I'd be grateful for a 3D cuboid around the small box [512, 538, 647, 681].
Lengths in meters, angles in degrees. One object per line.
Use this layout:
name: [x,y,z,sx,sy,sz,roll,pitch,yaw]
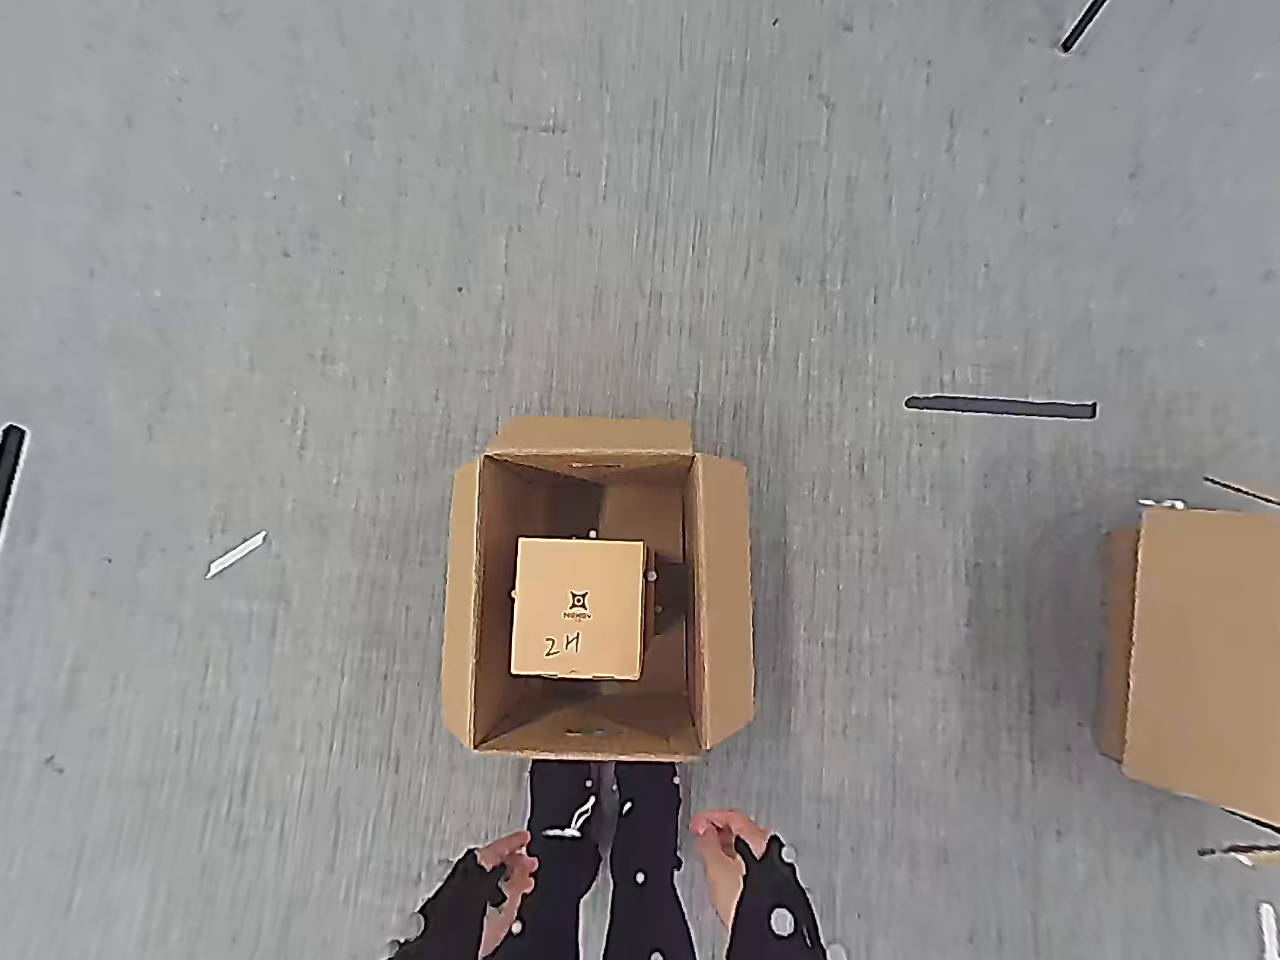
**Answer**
small box: [-0.076,0.178,0.774,0.168,0.176,0.179,1,82,2]
